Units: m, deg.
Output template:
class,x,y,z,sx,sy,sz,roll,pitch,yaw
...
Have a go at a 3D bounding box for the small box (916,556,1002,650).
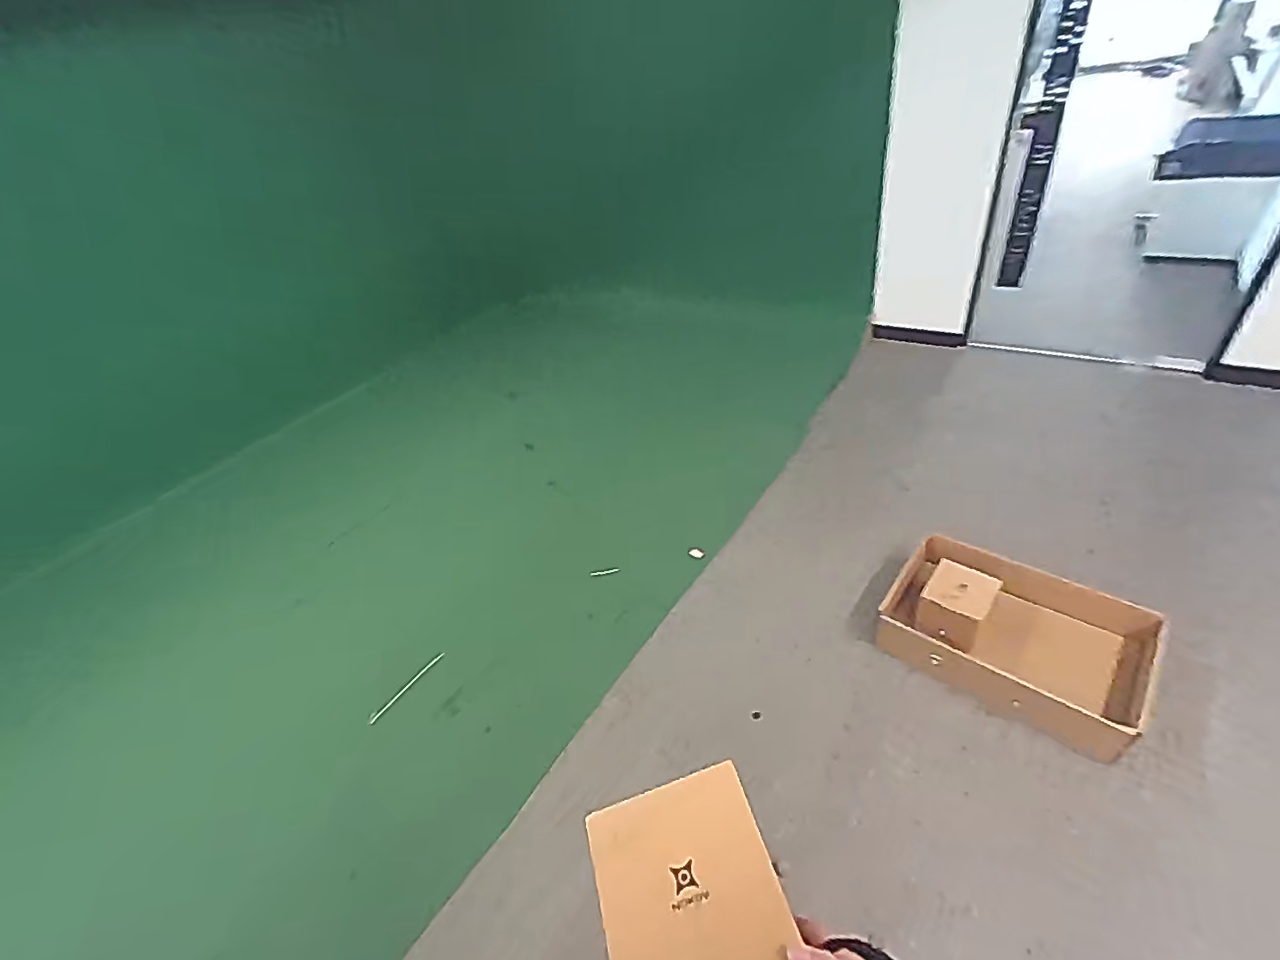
class,x,y,z,sx,sy,sz,roll,pitch,yaw
small box,0.952,0.370,1.627,0.168,0.176,0.179,24,52,37
